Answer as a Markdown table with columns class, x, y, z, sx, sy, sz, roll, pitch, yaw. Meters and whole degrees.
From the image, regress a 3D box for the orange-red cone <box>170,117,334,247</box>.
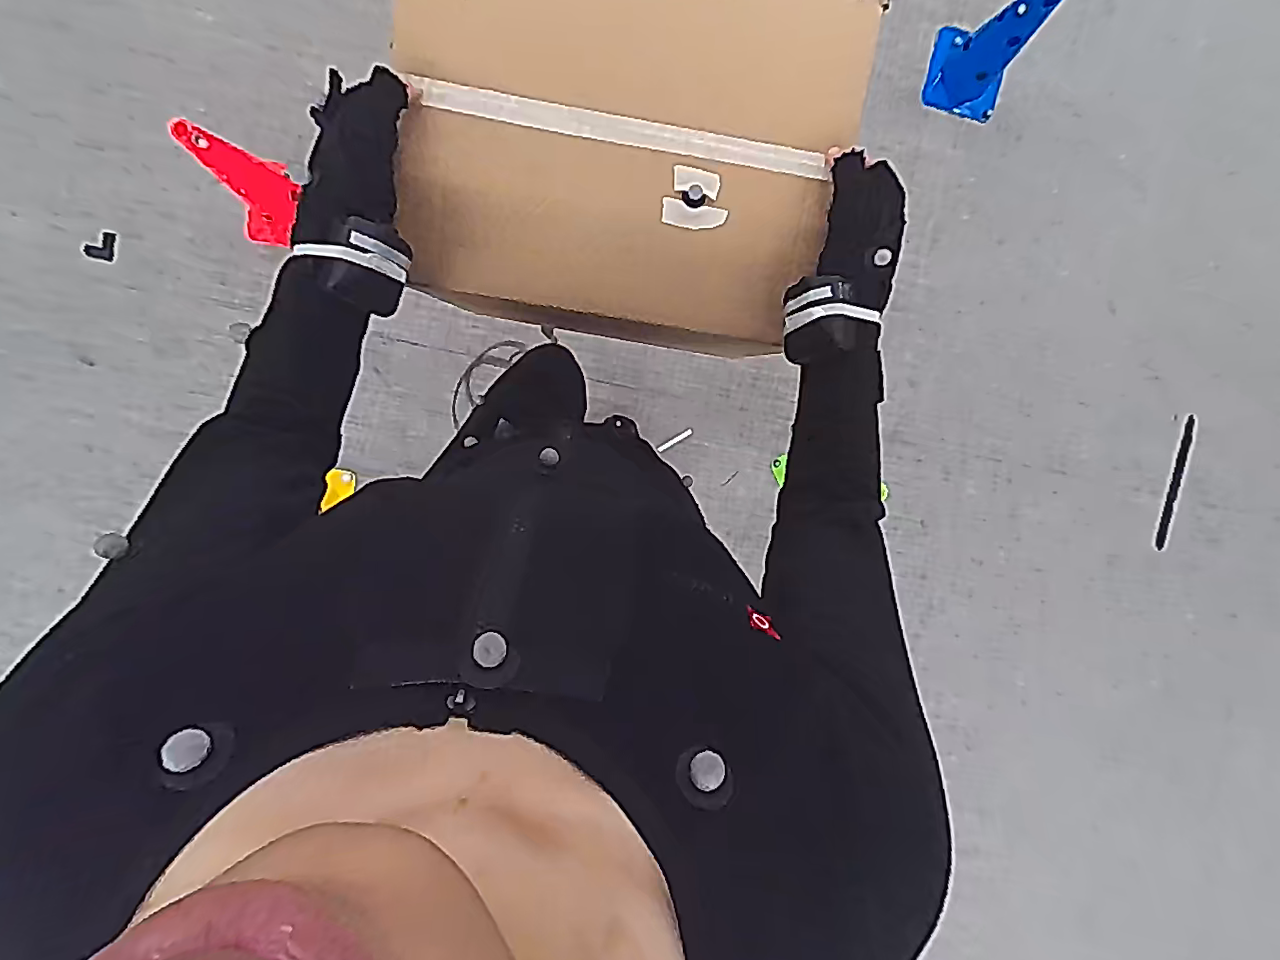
| class | x | y | z | sx | sy | sz | roll | pitch | yaw |
| --- | --- | --- | --- | --- | --- | --- | --- | --- | --- |
| orange-red cone | -0.866 | -0.678 | 1.185 | 0.198 | 0.360 | 0.199 | 9 | 96 | -3 |

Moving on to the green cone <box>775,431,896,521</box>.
| class | x | y | z | sx | sy | sz | roll | pitch | yaw |
| --- | --- | --- | --- | --- | --- | --- | --- | --- | --- |
| green cone | 0.505 | 0.006 | 1.320 | 0.202 | 0.368 | 0.200 | -26 | 97 | -2 |

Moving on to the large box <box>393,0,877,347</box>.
| class | x | y | z | sx | sy | sz | roll | pitch | yaw |
| --- | --- | --- | --- | --- | --- | --- | --- | --- | --- |
| large box | -0.018 | -0.344 | 0.623 | 0.408 | 0.320 | 0.320 | 8 | 101 | -5 |

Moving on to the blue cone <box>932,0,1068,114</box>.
| class | x | y | z | sx | sy | sz | roll | pitch | yaw |
| --- | --- | --- | --- | --- | --- | --- | --- | --- | --- |
| blue cone | 0.881 | -1.059 | 1.256 | 0.192 | 0.380 | 0.193 | 14 | 95 | -5 |
